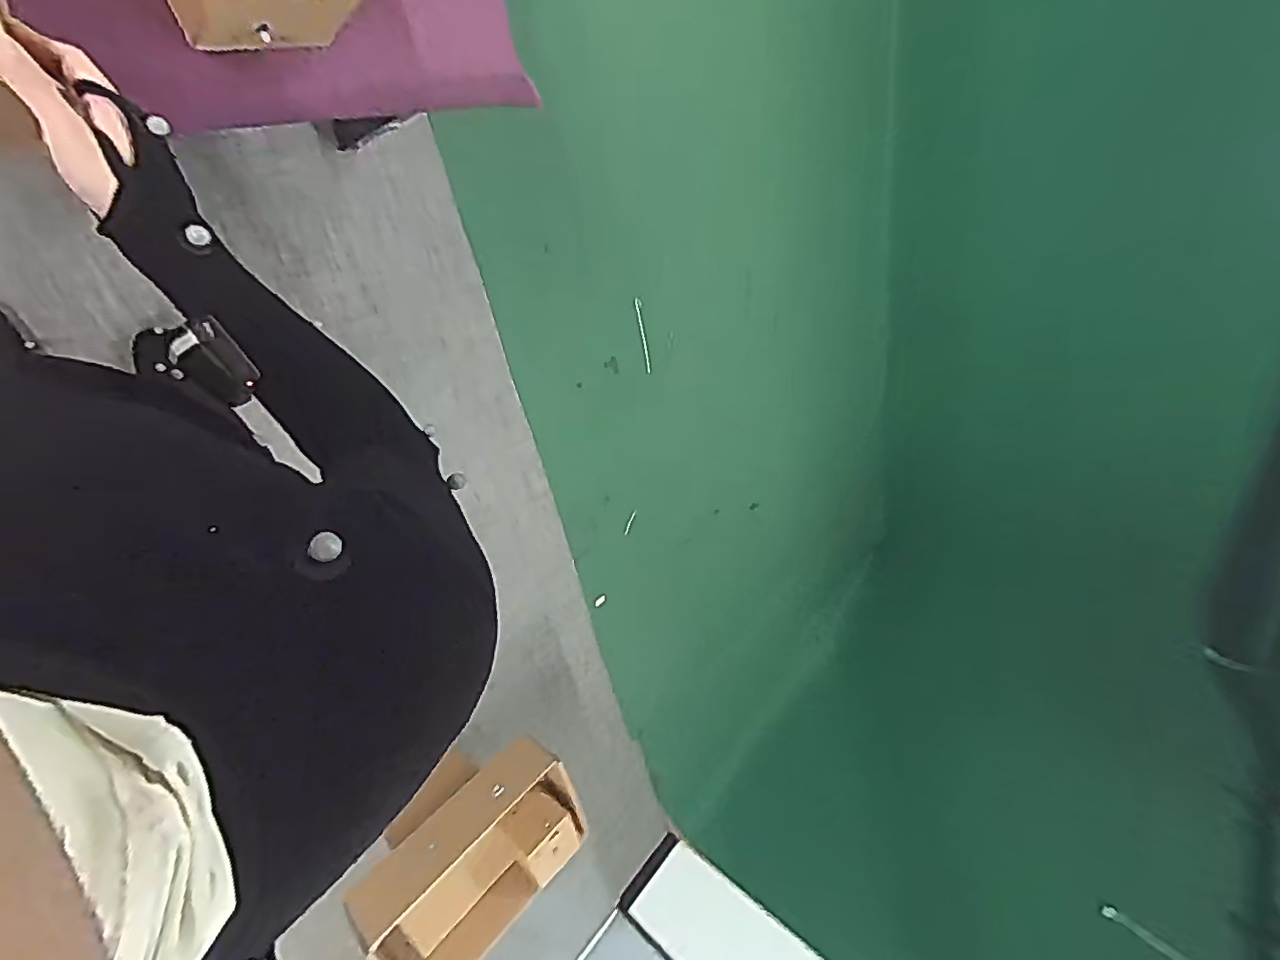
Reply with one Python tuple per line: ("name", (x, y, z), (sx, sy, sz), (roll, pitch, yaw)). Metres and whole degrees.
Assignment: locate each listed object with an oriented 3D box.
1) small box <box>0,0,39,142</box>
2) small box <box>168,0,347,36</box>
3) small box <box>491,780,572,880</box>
("small box", (-0.523, -0.347, 0.337), (0.168, 0.176, 0.179), (-14, 109, -41))
("small box", (-0.449, -0.625, 0.592), (0.168, 0.176, 0.179), (-37, 127, -34))
("small box", (-0.344, 1.102, 1.717), (0.168, 0.176, 0.179), (-33, 125, -37))
